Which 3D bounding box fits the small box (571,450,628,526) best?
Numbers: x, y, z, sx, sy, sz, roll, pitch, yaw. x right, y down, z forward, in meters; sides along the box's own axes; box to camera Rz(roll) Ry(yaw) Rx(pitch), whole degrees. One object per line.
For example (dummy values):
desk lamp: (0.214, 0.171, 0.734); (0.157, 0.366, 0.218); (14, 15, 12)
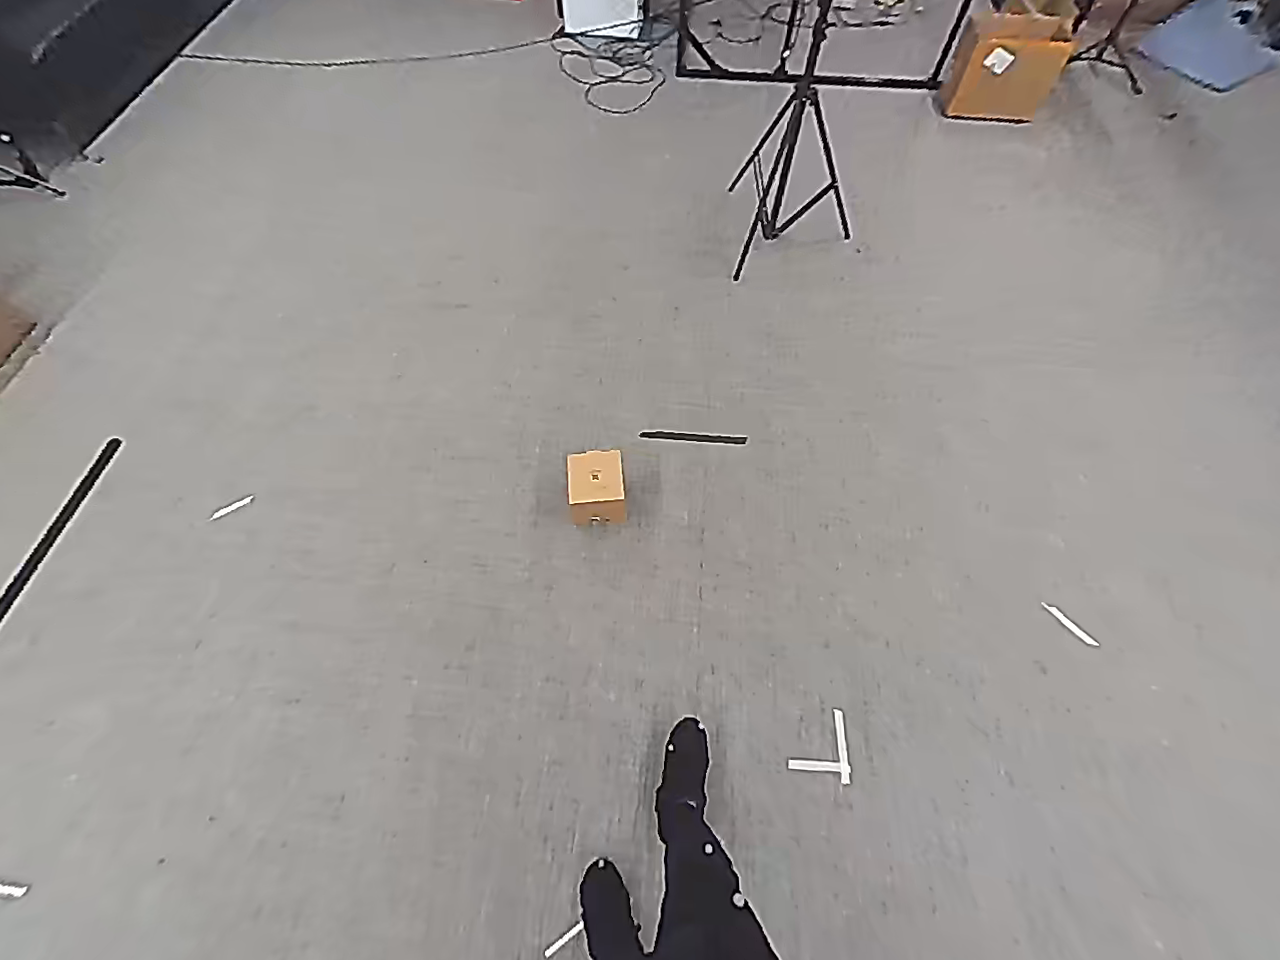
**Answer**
small box: (-0.125, 0.026, 1.692); (0.168, 0.176, 0.179); (-5, 61, -2)
